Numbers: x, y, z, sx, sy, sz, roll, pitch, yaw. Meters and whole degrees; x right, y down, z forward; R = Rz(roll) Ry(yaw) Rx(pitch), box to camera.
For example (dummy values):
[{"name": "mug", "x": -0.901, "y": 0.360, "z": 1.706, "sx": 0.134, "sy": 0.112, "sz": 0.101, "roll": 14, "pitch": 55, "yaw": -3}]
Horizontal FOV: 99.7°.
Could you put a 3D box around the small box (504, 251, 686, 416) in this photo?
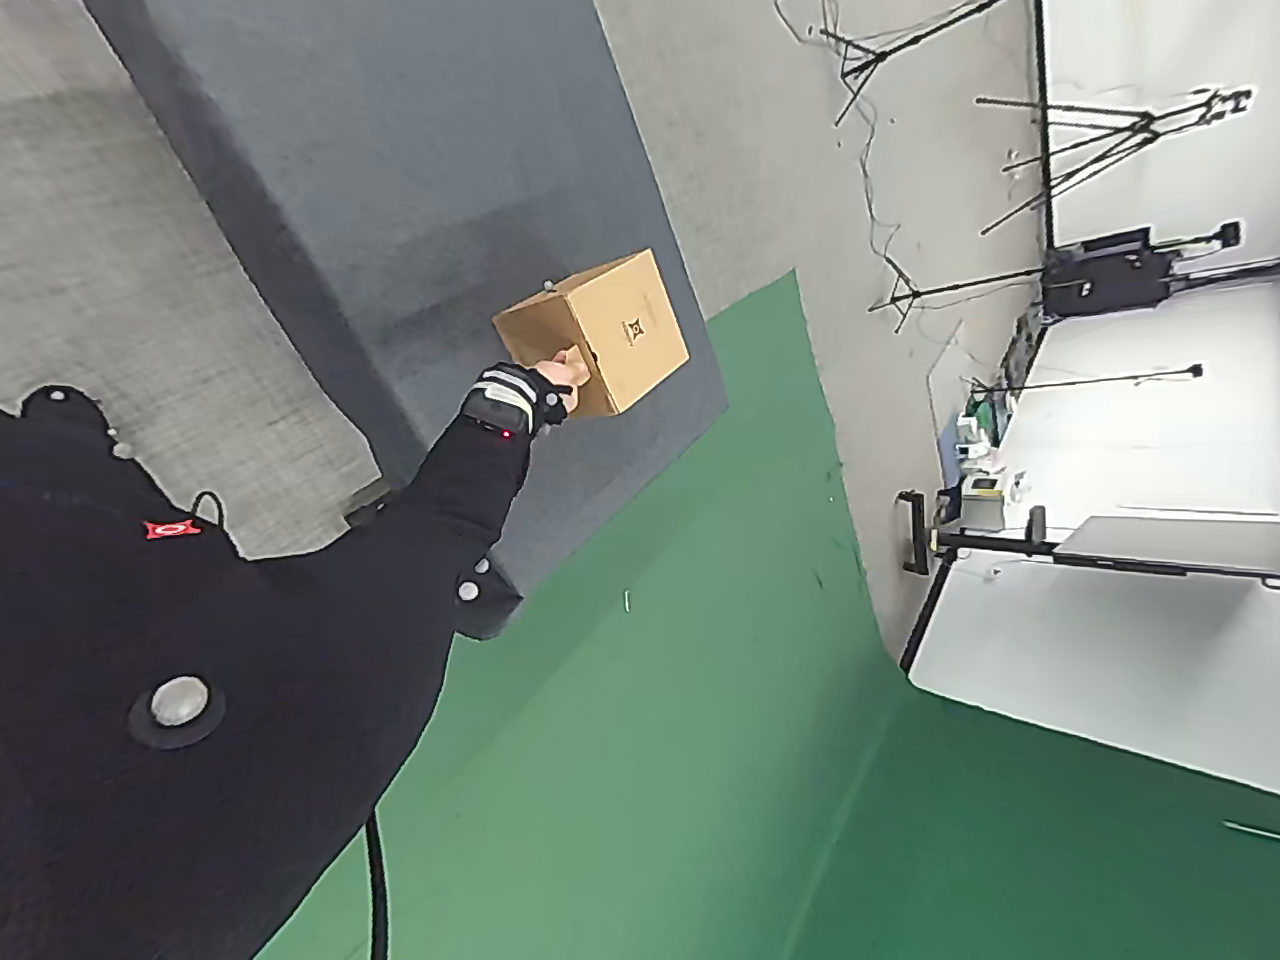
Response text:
[{"name": "small box", "x": -0.069, "y": -0.201, "z": 0.773, "sx": 0.179, "sy": 0.176, "sz": 0.168, "roll": -45, "pitch": 123, "yaw": -36}]
